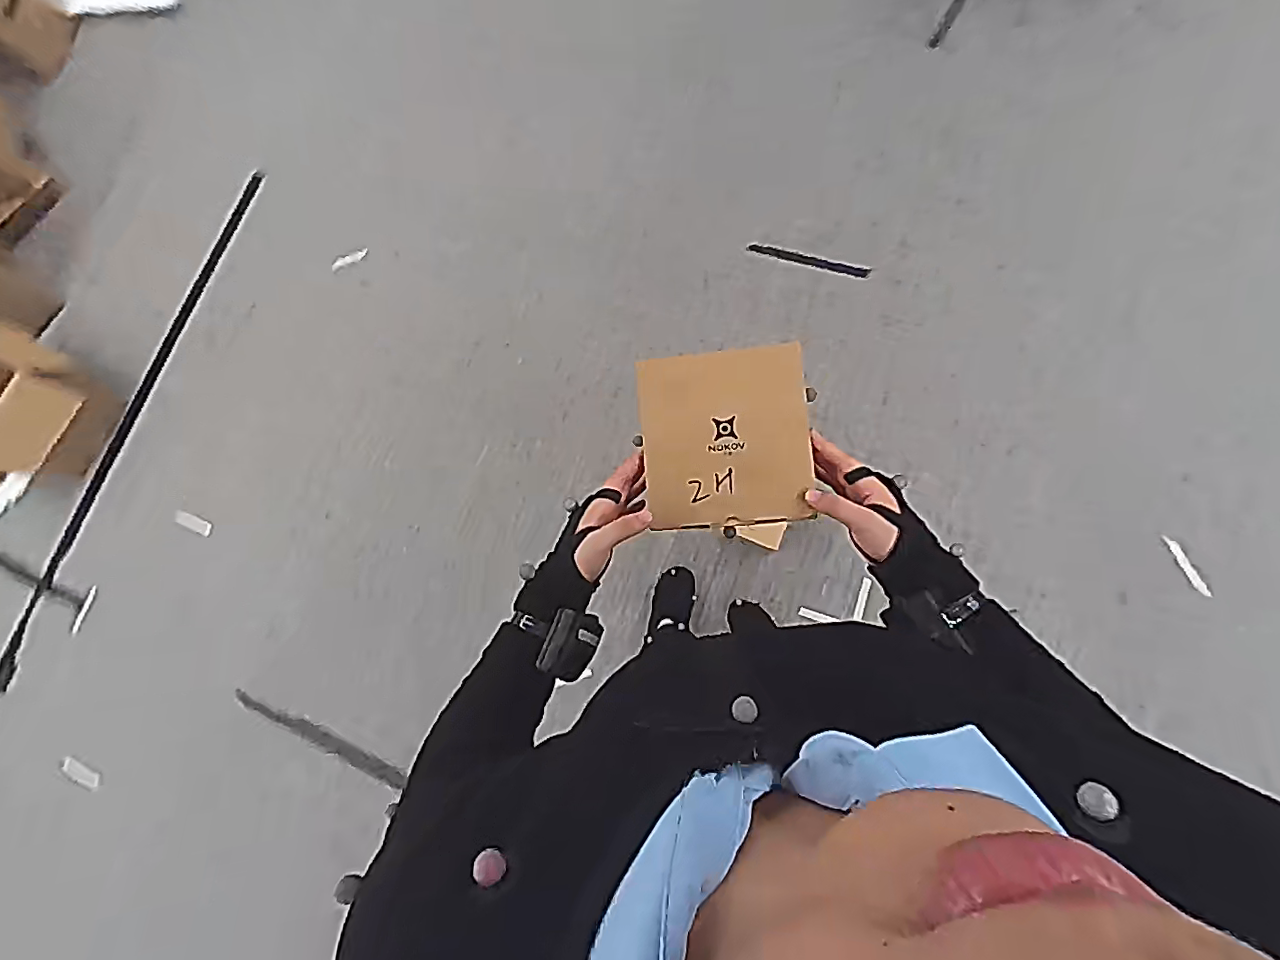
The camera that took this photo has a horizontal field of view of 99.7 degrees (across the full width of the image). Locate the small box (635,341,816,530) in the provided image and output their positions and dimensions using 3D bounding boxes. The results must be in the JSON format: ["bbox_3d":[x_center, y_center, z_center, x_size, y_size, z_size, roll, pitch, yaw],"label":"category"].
[{"bbox_3d":[0.091,-0.037,0.608,0.168,0.176,0.179,-6,85,8],"label":"small box"}]
